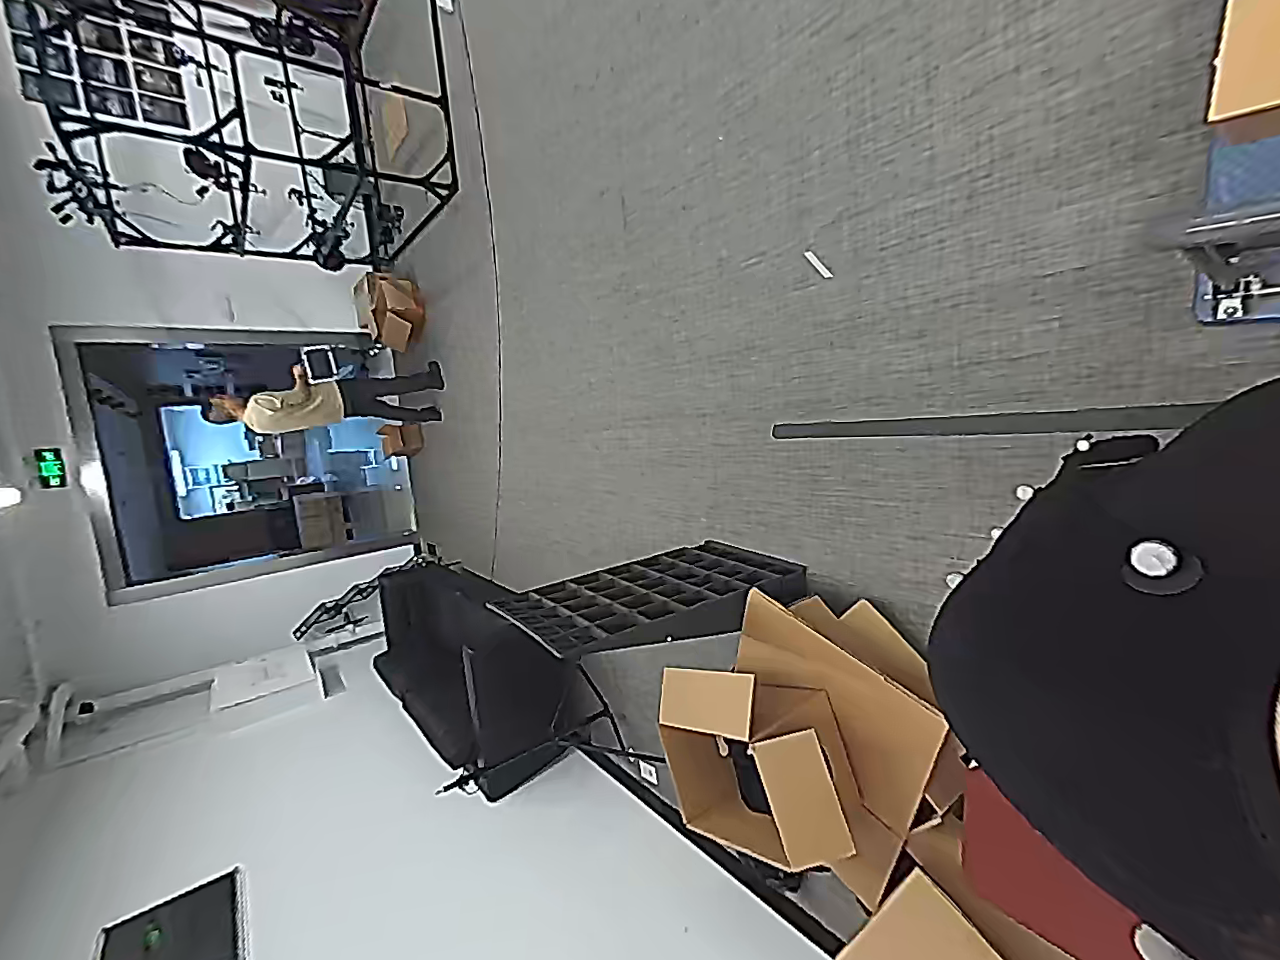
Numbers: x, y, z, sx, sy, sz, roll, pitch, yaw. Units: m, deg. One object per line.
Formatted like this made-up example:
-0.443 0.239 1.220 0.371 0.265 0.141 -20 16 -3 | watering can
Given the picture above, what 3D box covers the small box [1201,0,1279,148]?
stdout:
0.938 -0.594 0.758 0.179 0.176 0.168 13 108 50 | small box
